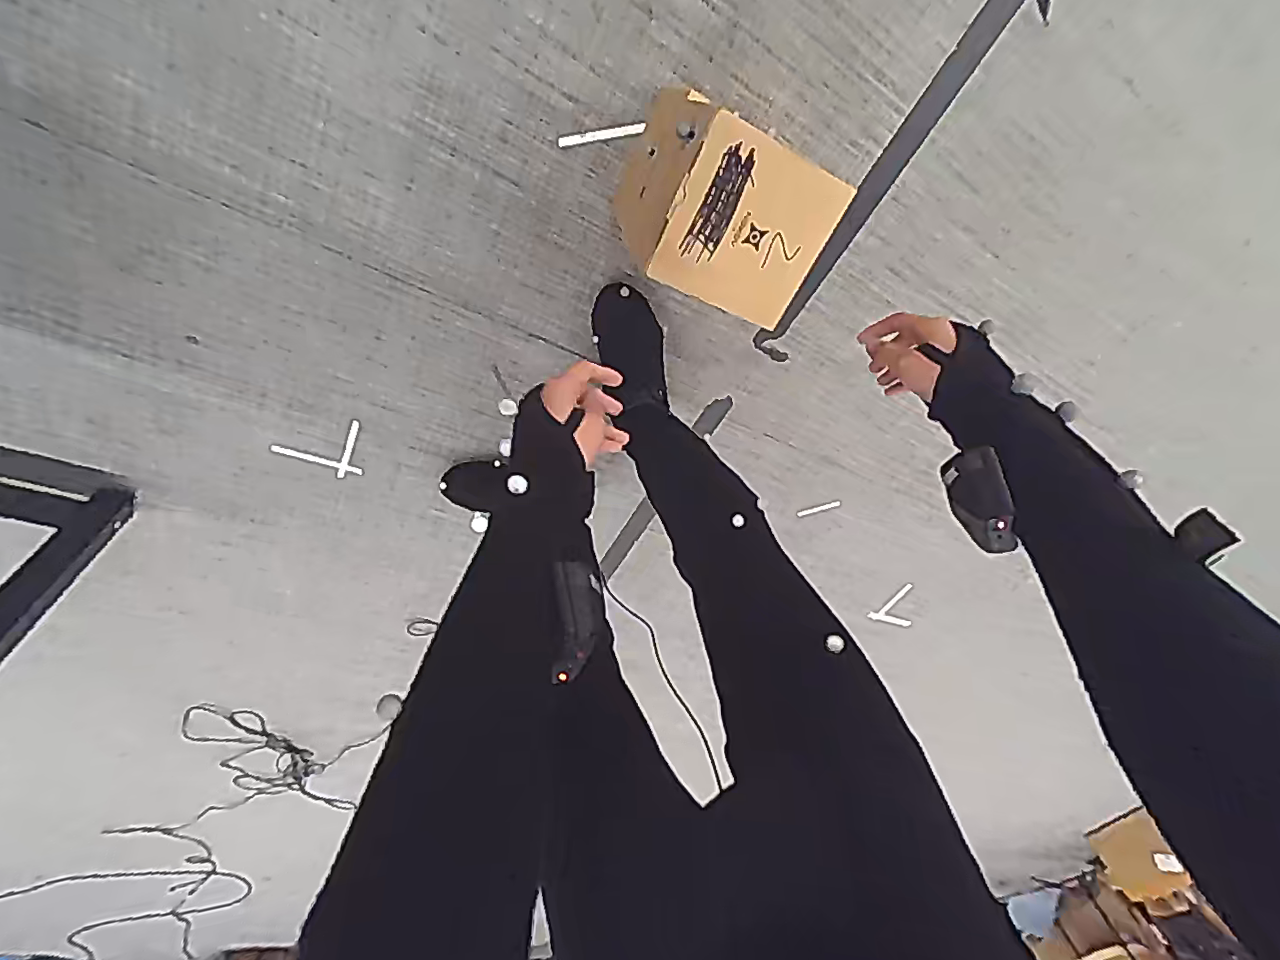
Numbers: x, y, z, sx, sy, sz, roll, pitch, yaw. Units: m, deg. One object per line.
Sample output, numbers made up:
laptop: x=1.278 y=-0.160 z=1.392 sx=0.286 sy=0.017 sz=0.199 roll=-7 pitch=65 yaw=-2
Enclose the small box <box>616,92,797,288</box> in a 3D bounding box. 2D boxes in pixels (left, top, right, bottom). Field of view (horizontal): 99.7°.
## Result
small box: x=0.078 y=-0.407 z=0.754 sx=0.168 sy=0.176 sz=0.179 roll=19 pitch=122 yaw=-23
